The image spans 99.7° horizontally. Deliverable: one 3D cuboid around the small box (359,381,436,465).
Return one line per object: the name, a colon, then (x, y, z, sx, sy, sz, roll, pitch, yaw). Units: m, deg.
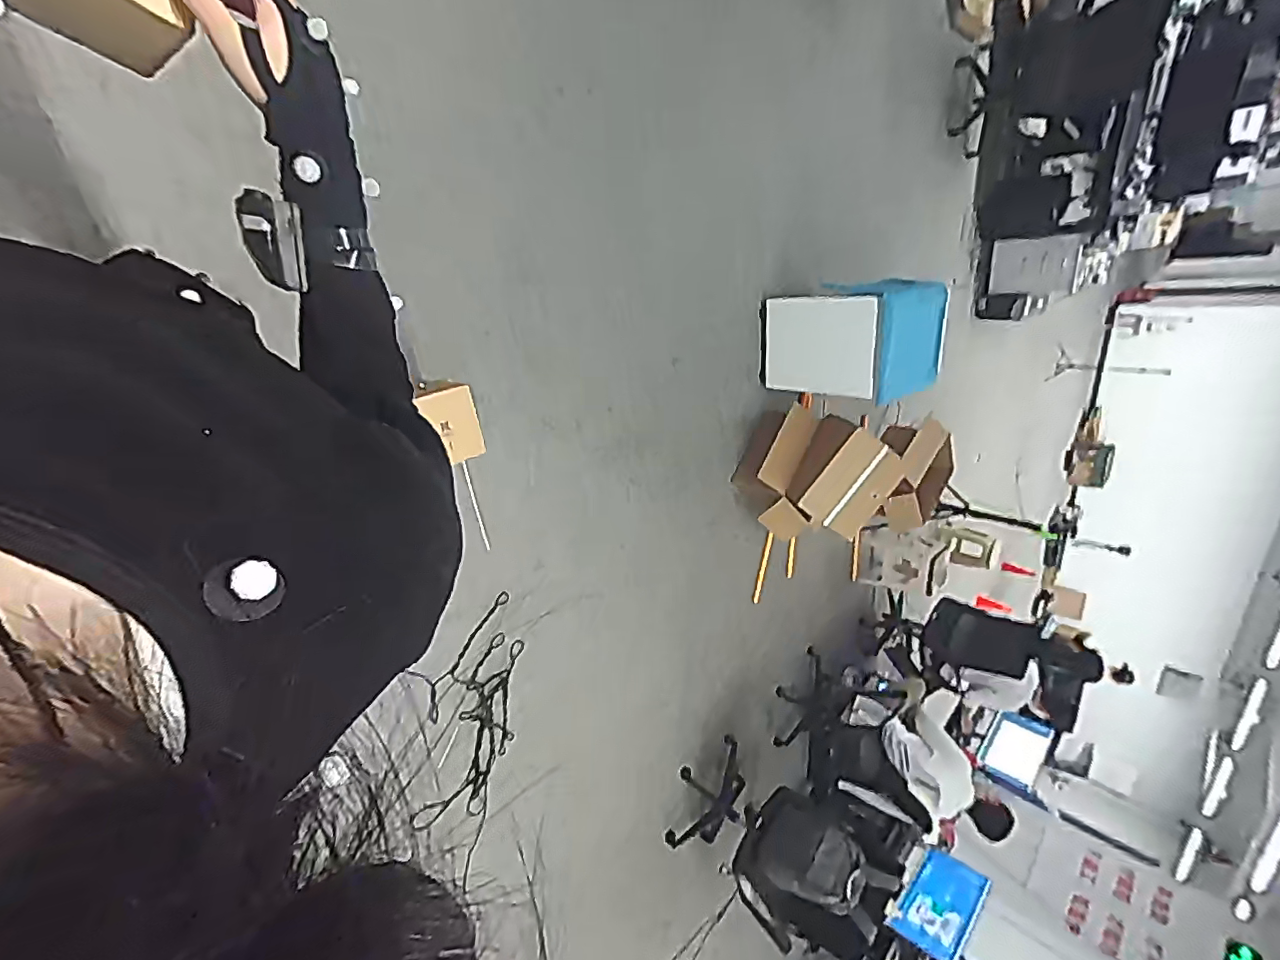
small box: (-0.606, -0.157, 1.414, 0.168, 0.176, 0.179, -26, 119, -36)

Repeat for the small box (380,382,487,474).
small box: (-0.497, -0.133, 1.294, 0.168, 0.176, 0.179, -26, 118, -35)

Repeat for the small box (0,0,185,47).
small box: (-0.379, -0.394, 0.309, 0.179, 0.176, 0.168, 6, 101, -51)
